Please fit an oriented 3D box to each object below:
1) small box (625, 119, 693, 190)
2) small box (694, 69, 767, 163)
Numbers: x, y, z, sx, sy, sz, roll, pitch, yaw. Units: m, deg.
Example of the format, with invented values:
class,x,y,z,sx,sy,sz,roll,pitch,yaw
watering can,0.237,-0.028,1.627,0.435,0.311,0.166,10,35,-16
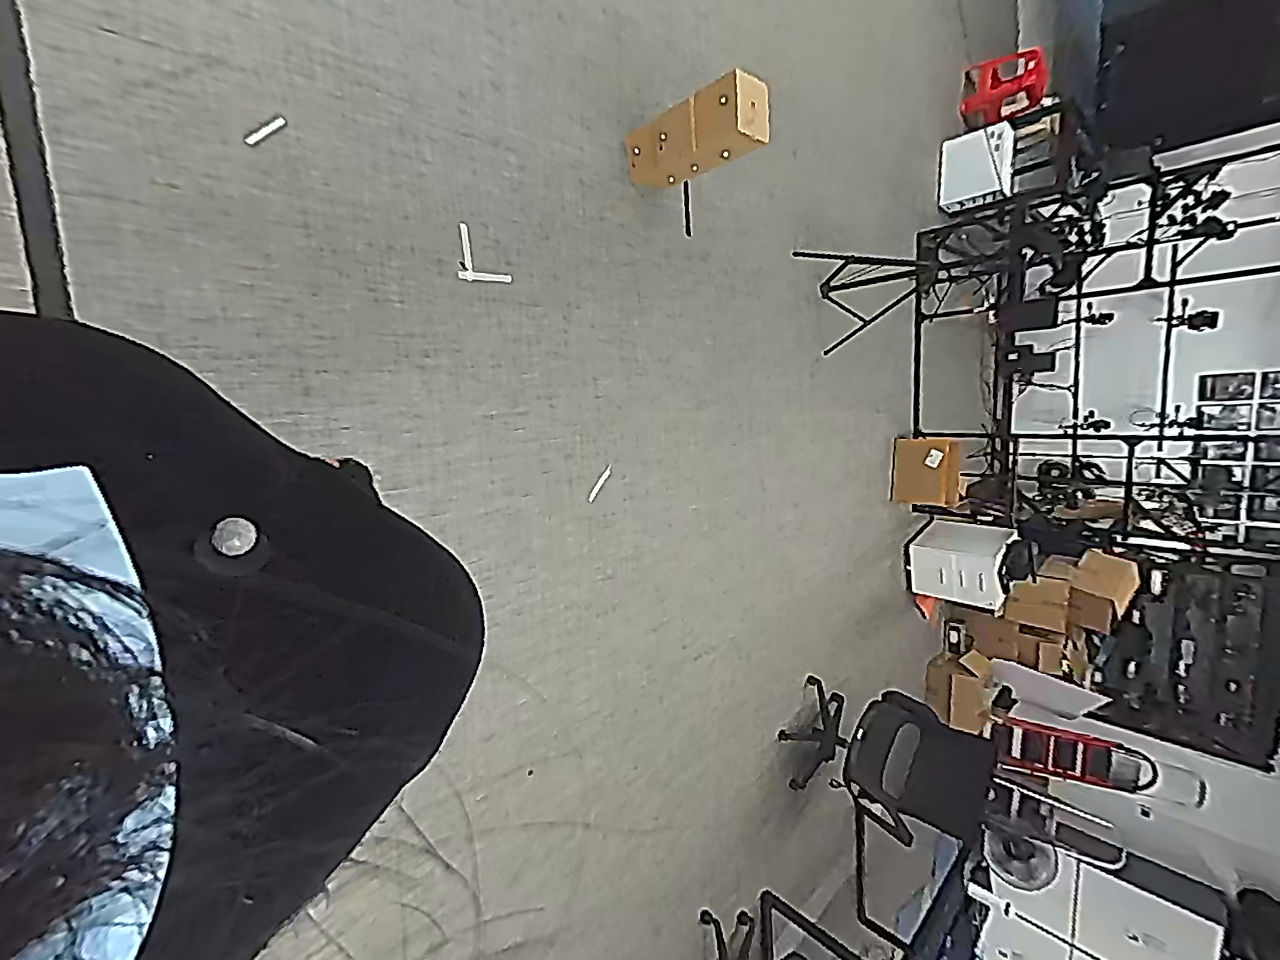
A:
class,x,y,z,sx,sy,sz,roll,pitch,yaw
small box,0.069,-1.179,1.973,0.179,0.176,0.168,-18,106,-41
small box,0.287,-1.153,1.727,0.168,0.176,0.179,-11,102,-41
